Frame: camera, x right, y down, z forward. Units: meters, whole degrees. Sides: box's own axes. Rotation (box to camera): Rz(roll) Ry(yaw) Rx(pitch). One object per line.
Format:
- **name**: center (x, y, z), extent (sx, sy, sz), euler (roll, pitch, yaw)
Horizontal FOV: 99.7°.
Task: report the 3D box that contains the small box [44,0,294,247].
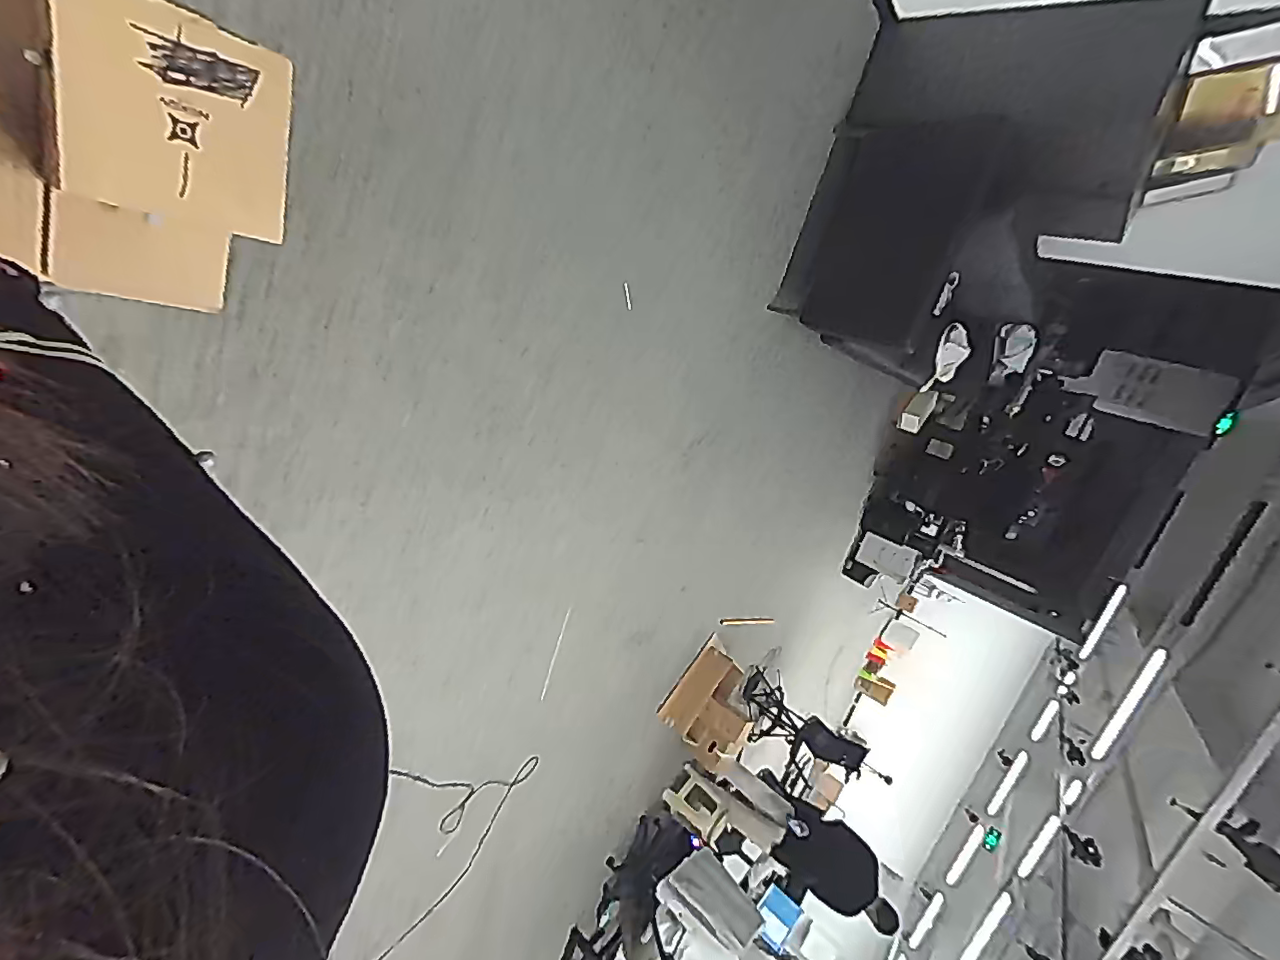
- **small box**: center (-0.477, -0.360, 0.551), extent (0.168, 0.176, 0.179), euler (-6, 118, -48)
